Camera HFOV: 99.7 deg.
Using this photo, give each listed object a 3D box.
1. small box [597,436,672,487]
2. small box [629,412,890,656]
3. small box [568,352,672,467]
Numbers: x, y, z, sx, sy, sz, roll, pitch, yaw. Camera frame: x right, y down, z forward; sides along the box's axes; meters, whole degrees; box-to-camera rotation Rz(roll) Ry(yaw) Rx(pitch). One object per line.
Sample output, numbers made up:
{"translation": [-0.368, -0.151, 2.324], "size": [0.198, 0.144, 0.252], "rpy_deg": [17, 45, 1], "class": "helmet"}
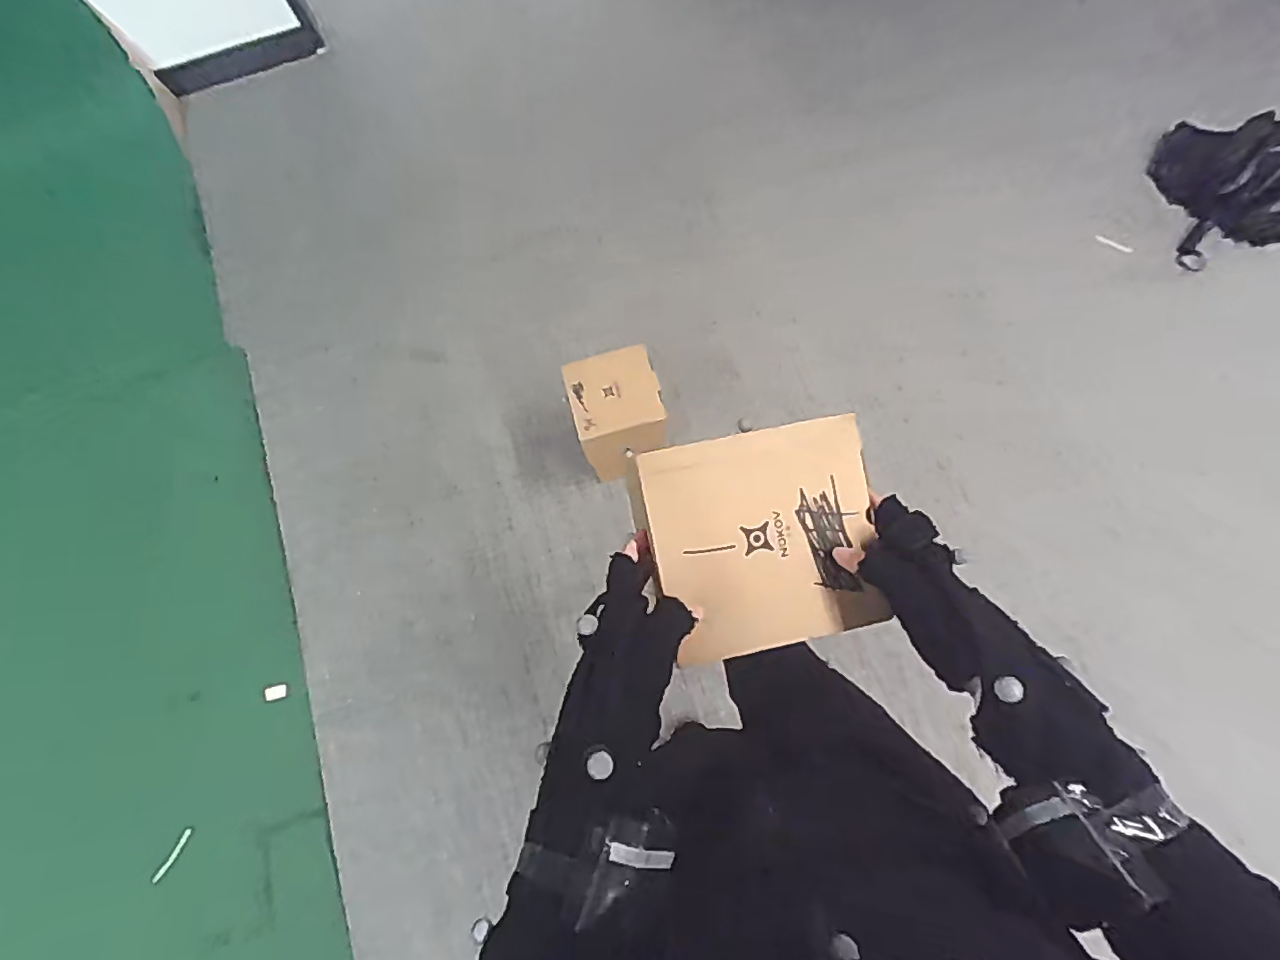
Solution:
{"translation": [-0.027, -0.098, 1.291], "size": [0.179, 0.176, 0.168], "rpy_deg": [-17, 75, -1], "class": "small box"}
{"translation": [0.092, 0.040, 0.498], "size": [0.179, 0.176, 0.168], "rpy_deg": [-11, 90, -4], "class": "small box"}
{"translation": [-0.039, -0.141, 1.133], "size": [0.179, 0.176, 0.168], "rpy_deg": [-15, 75, -2], "class": "small box"}
